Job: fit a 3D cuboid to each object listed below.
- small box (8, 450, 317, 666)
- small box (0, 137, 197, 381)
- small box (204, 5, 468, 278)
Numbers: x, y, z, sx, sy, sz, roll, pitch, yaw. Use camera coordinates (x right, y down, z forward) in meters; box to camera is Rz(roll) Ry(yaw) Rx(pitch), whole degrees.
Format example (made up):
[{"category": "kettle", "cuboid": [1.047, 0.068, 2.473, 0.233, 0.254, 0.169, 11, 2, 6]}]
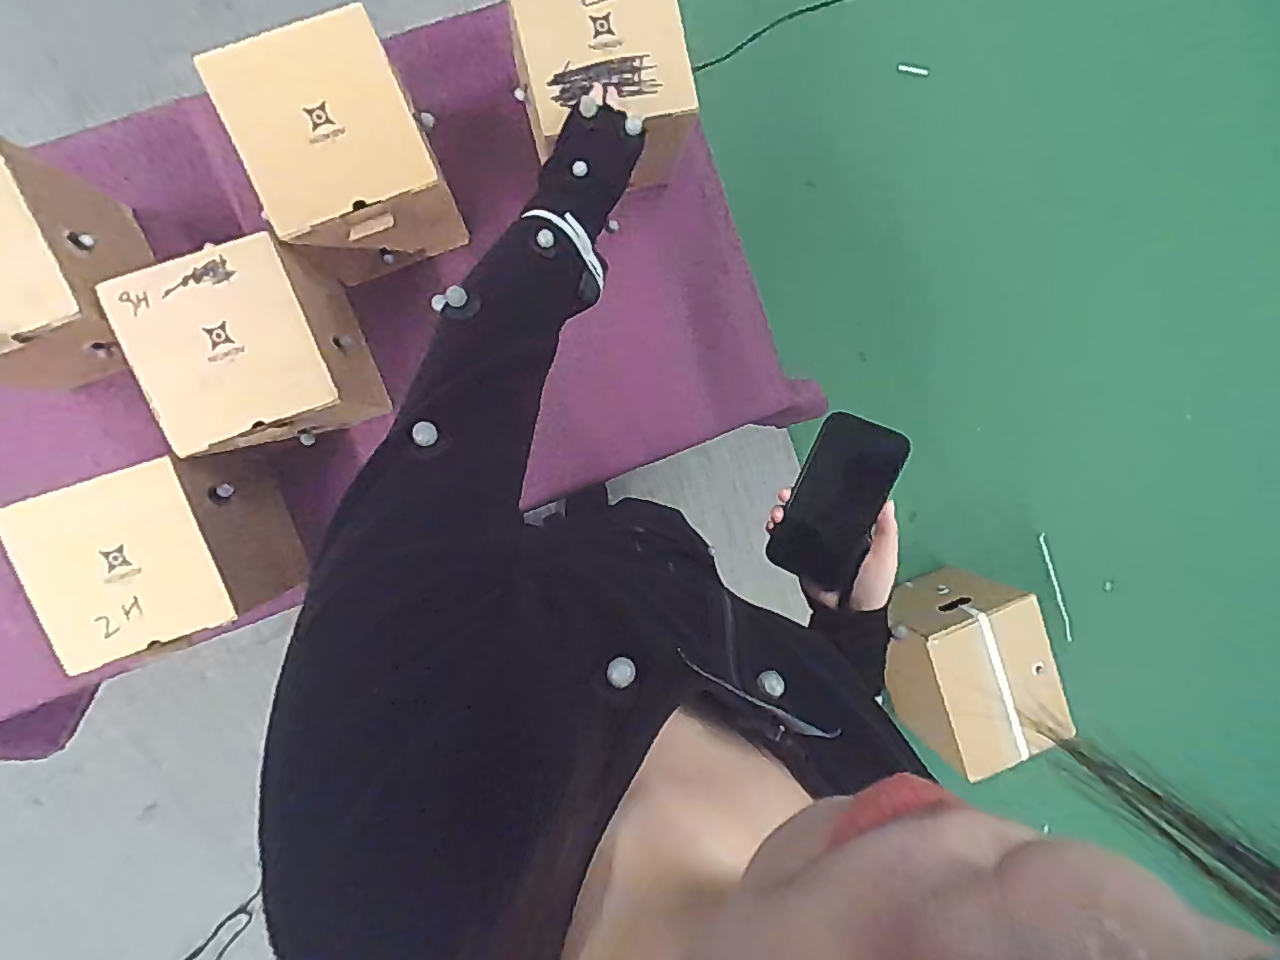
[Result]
[{"category": "small box", "cuboid": [-0.509, 0.073, 0.609, 0.168, 0.176, 0.179, -19, 97, -5]}, {"category": "small box", "cuboid": [-0.631, -0.212, 0.571, 0.168, 0.176, 0.179, -22, 97, -6]}, {"category": "small box", "cuboid": [-0.312, -0.353, 0.599, 0.168, 0.176, 0.179, -24, 99, -5]}]
